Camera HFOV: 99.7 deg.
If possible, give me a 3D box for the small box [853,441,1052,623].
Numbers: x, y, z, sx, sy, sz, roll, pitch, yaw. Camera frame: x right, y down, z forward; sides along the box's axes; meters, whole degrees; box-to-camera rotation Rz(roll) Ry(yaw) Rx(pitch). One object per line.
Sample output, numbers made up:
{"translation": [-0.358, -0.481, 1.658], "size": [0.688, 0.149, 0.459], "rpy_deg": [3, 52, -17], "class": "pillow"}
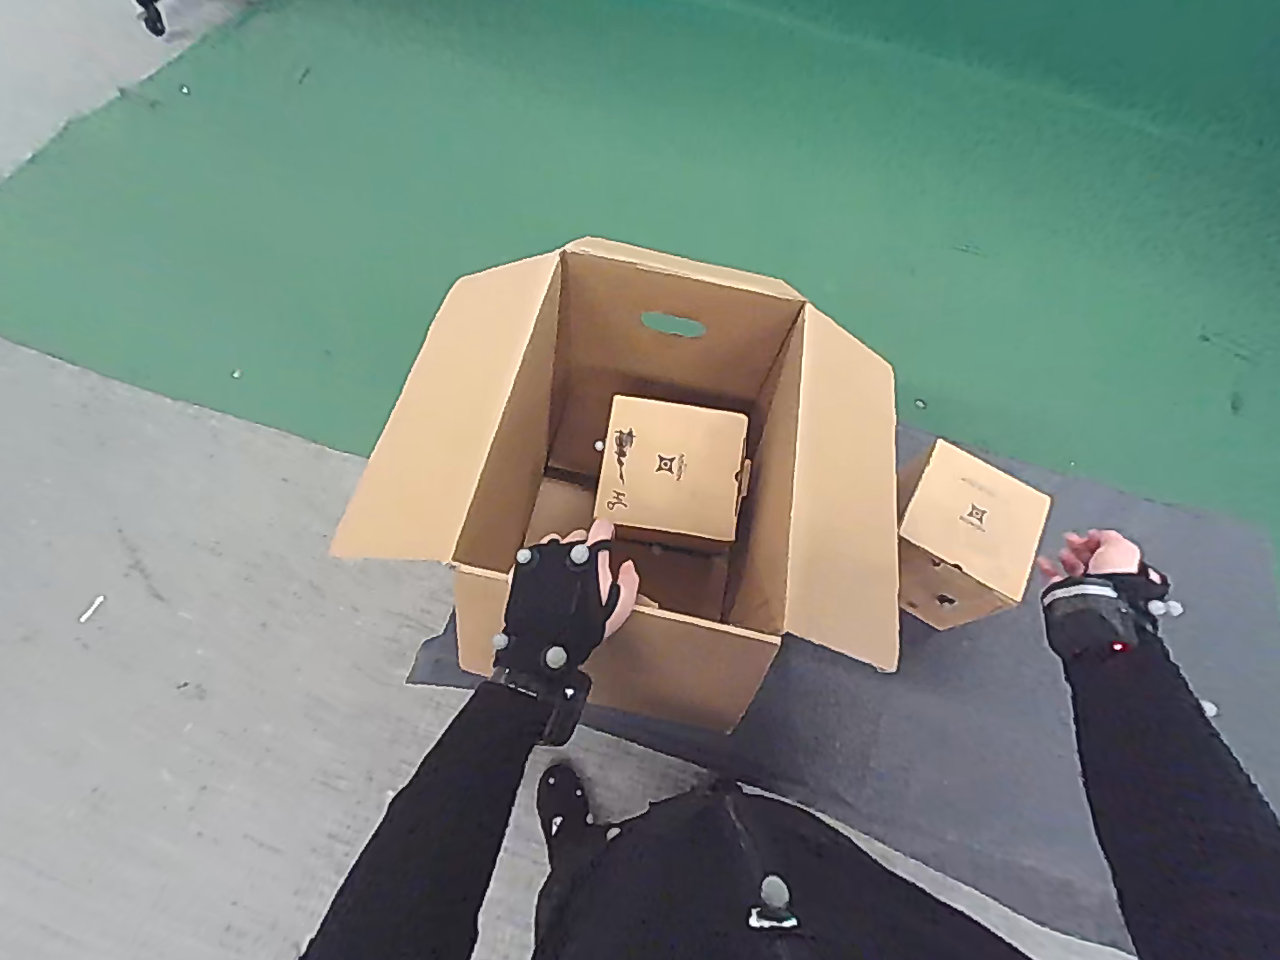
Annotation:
{"translation": [0.437, 0.083, 0.782], "size": [0.168, 0.176, 0.179], "rpy_deg": [32, 65, 9], "class": "small box"}
